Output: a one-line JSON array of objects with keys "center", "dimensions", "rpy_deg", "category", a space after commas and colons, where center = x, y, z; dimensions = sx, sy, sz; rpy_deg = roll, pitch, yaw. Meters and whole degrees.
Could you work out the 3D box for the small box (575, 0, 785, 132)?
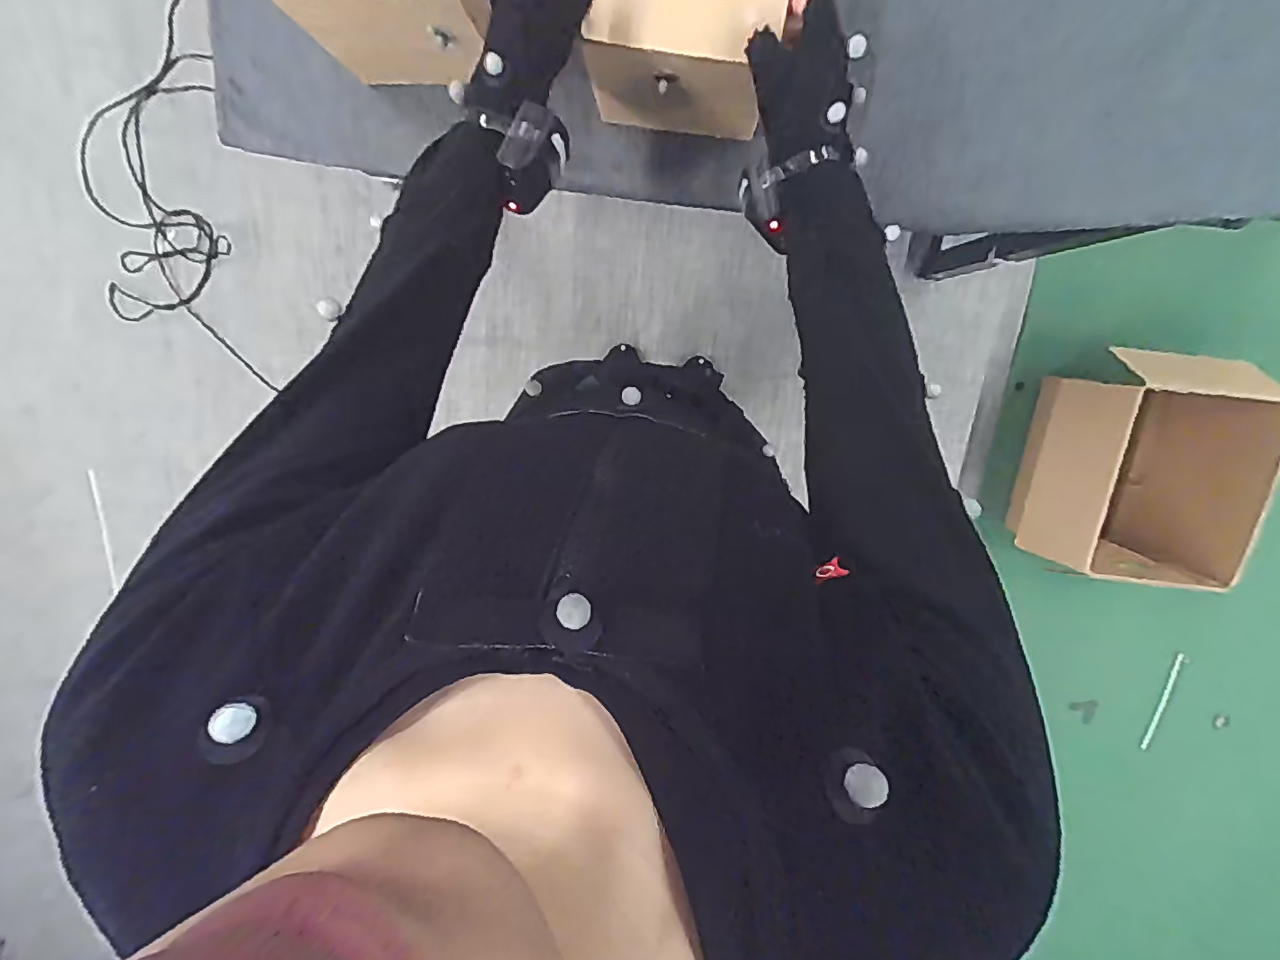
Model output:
[{"center": [0.045, -0.463, 0.521], "dimensions": [0.179, 0.176, 0.168], "rpy_deg": [8, 104, 1], "category": "small box"}]
